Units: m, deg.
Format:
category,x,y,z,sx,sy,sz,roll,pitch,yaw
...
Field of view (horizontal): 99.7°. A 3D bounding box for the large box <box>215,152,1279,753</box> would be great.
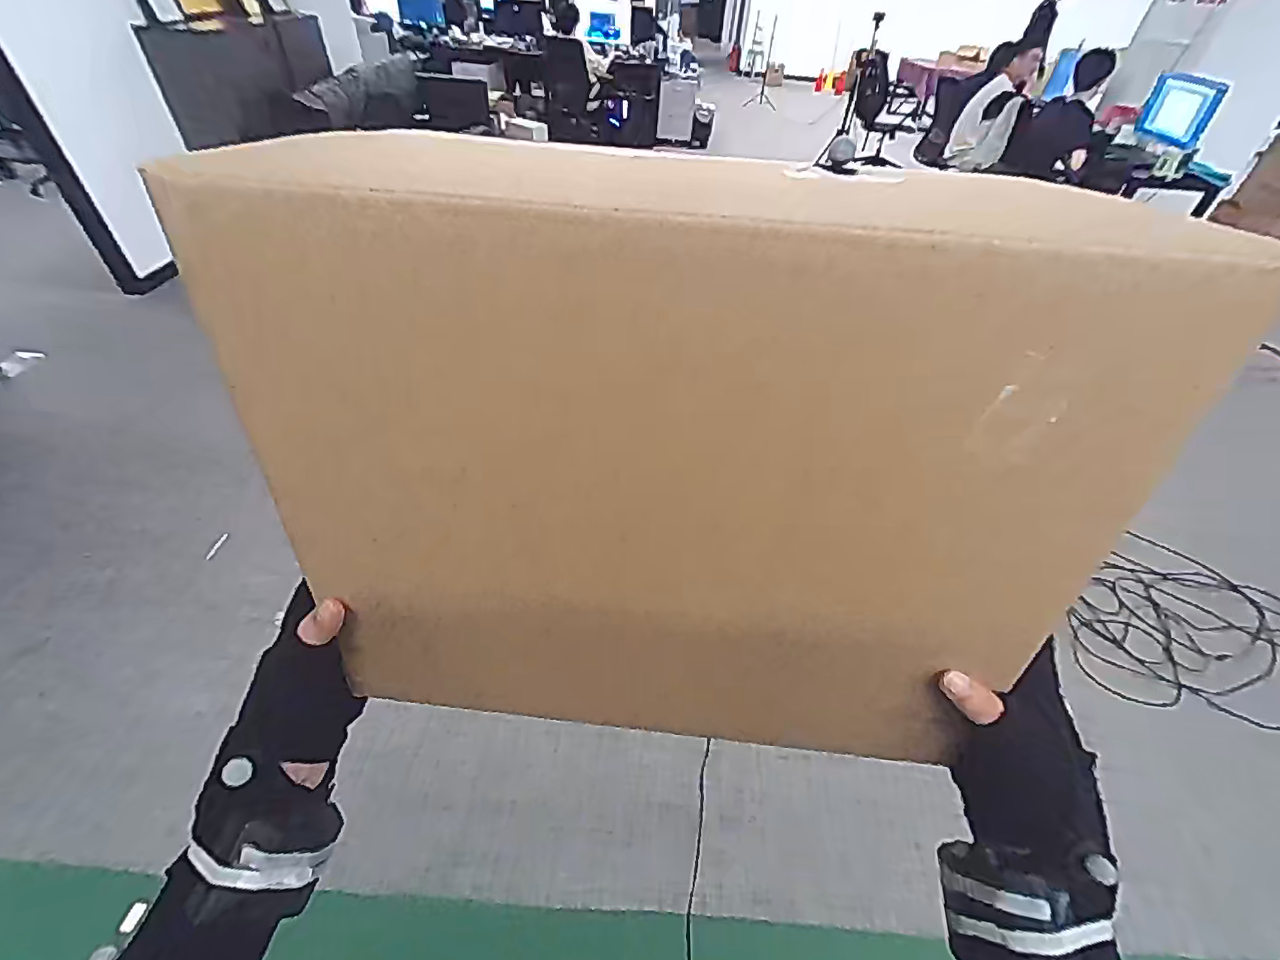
category,x,y,z,sx,sy,sz,roll,pitch,yaw
large box,0.035,-0.041,0.401,0.408,0.320,0.320,6,34,1
